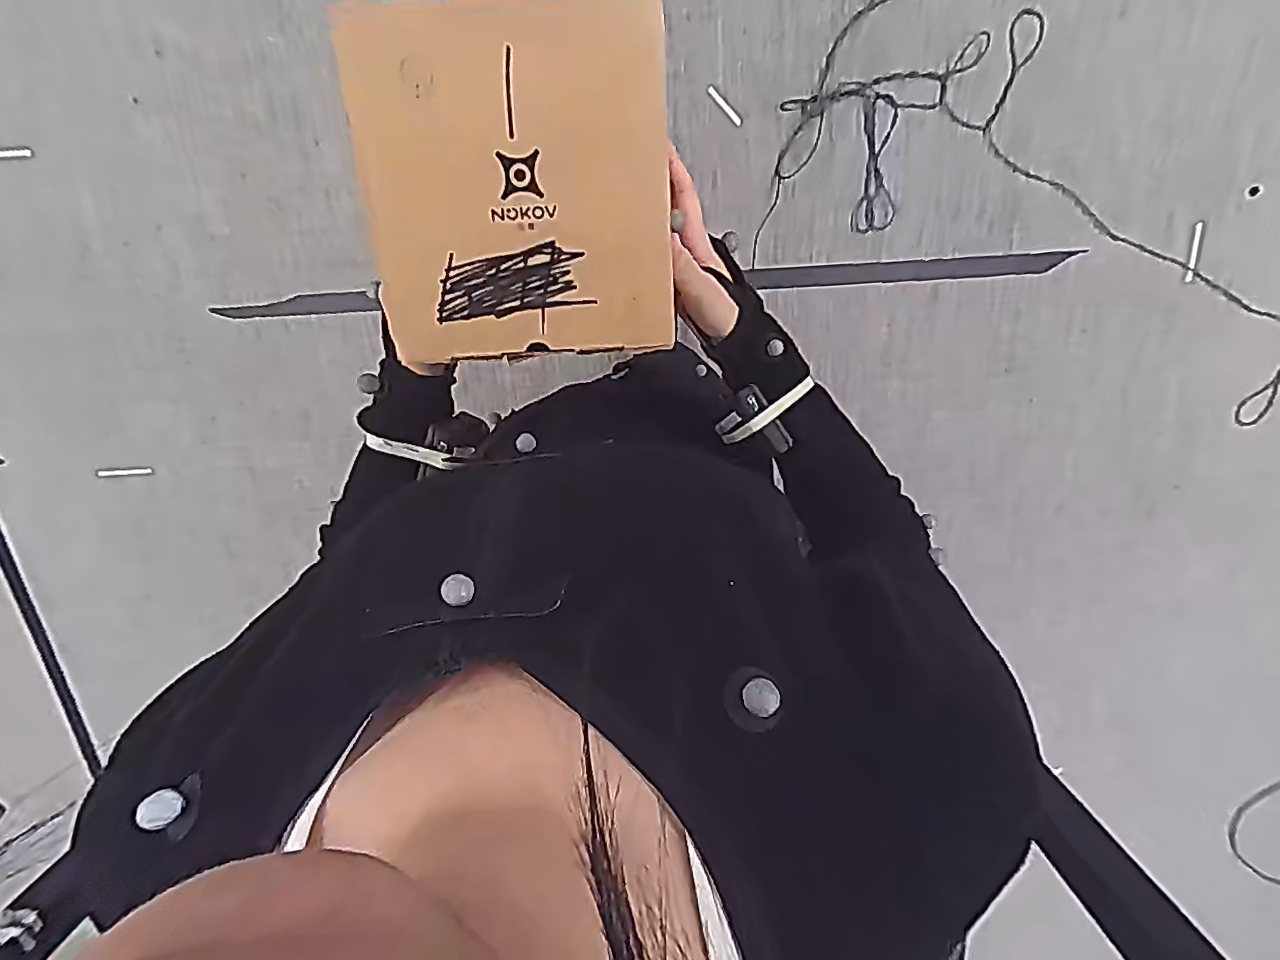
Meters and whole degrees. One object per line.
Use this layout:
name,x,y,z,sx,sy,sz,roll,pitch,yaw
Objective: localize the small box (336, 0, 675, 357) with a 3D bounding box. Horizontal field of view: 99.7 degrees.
small box,-0.067,-0.185,0.366,0.168,0.176,0.179,-4,109,-3
